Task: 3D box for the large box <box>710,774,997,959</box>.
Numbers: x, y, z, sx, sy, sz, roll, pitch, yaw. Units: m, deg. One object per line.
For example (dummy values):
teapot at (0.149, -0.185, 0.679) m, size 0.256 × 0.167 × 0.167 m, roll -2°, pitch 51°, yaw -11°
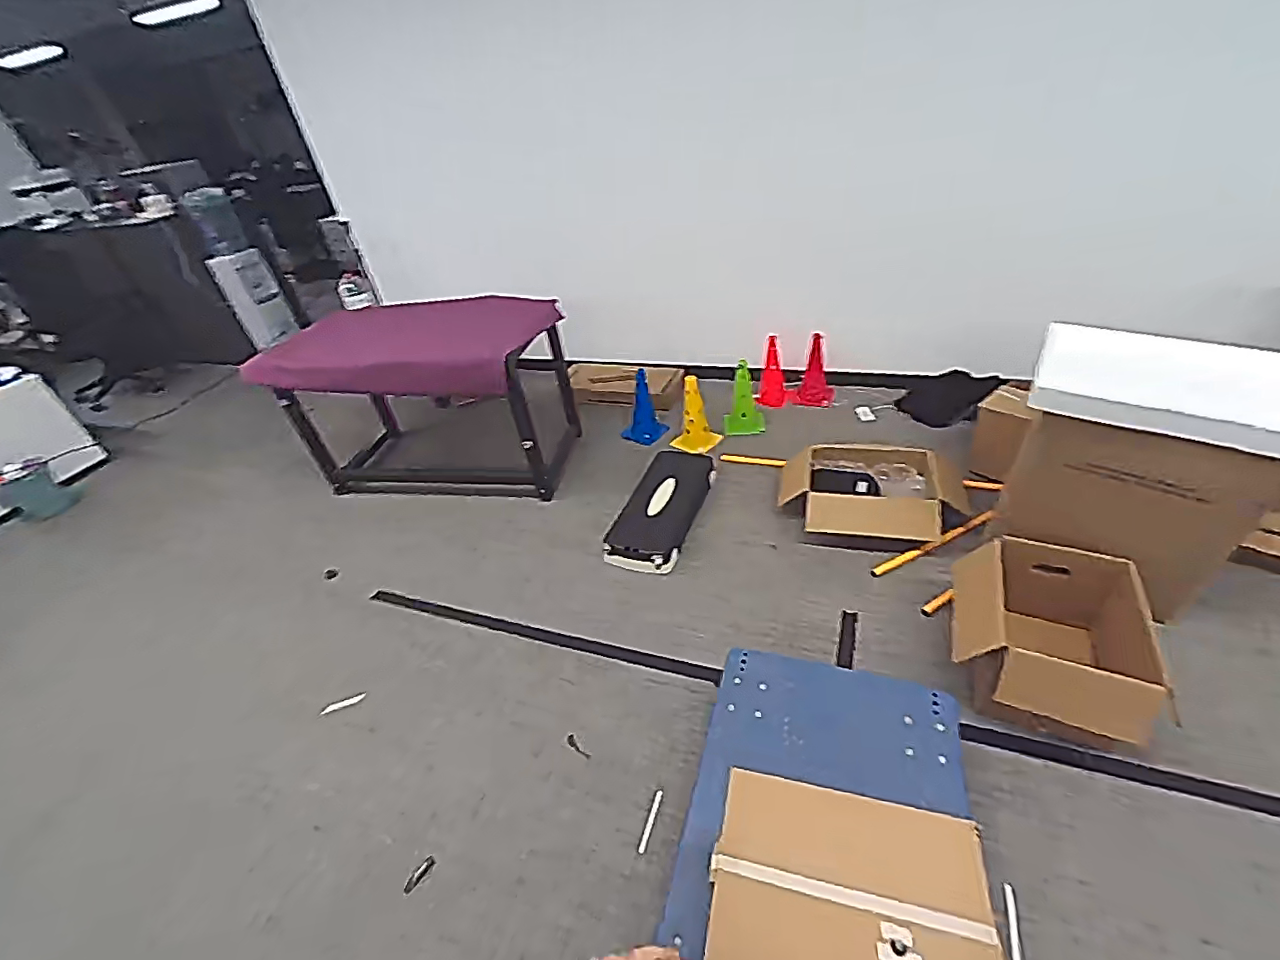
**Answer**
large box at (0.338, 0.769, 0.928) m, size 0.408 × 0.320 × 0.320 m, roll 5°, pitch 39°, yaw 16°
